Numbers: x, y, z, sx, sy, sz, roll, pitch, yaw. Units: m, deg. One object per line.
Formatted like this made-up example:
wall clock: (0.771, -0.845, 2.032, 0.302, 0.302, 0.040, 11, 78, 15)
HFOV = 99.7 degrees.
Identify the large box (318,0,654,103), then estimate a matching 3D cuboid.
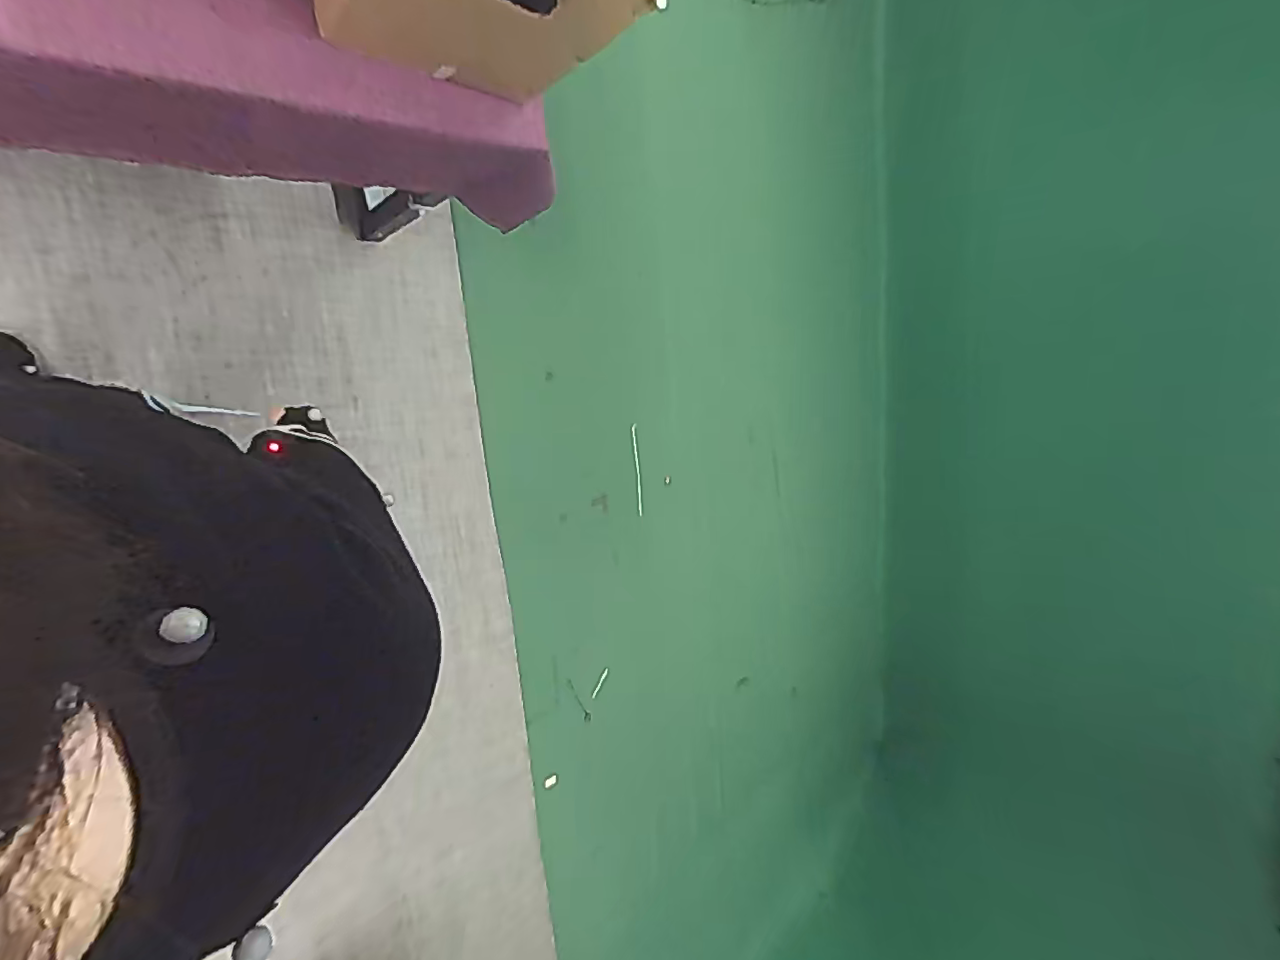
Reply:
large box: (-0.212, -0.773, 0.652, 0.320, 0.320, 0.408, -17, 107, -43)
